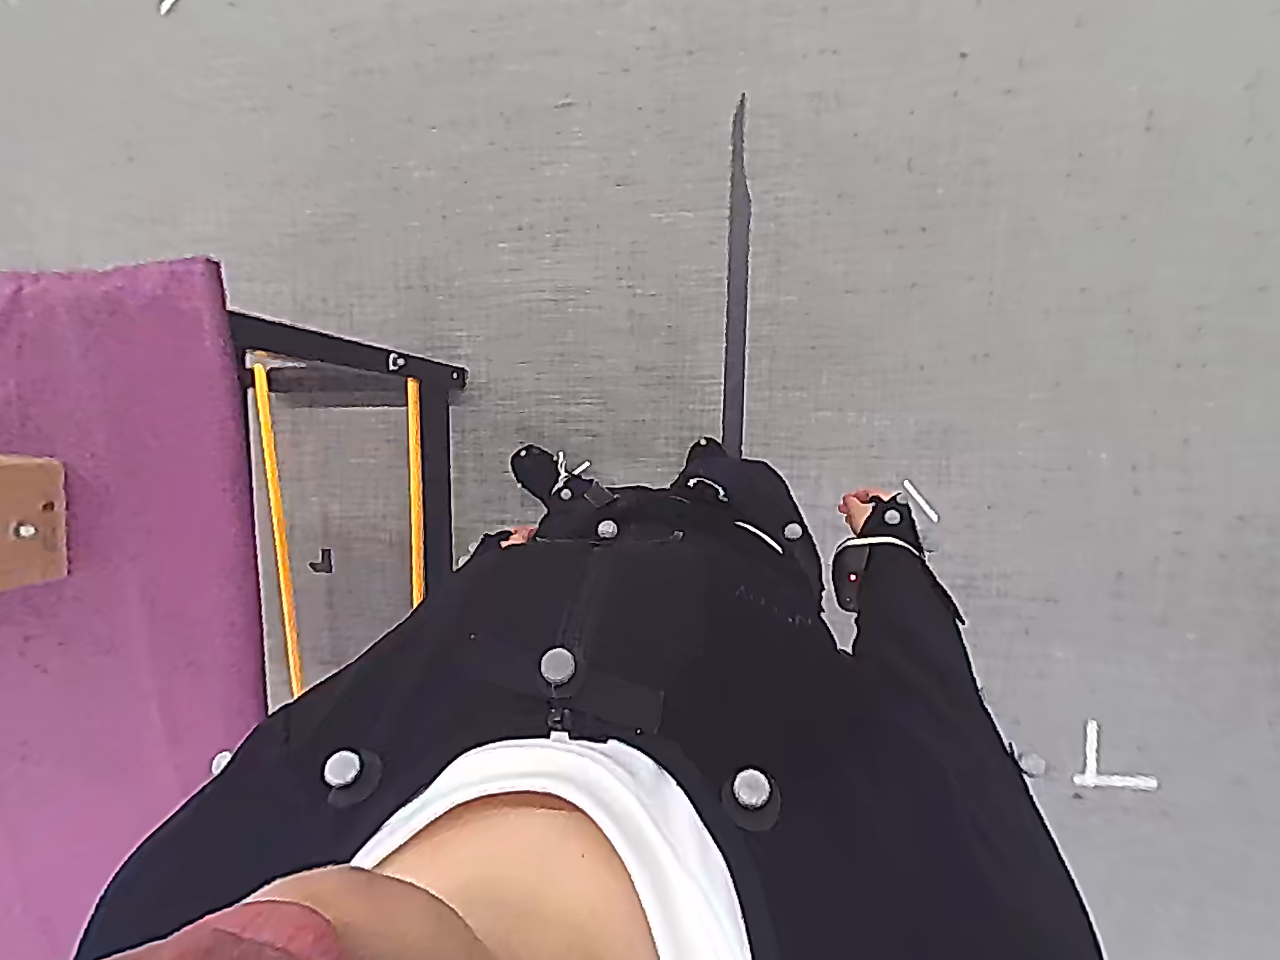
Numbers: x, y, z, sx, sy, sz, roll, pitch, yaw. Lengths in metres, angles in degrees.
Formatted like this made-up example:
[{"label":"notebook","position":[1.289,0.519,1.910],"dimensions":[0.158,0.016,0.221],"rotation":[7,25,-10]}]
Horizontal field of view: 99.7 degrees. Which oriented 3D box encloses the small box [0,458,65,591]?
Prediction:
[{"label":"small box","position":[-0.888,0.058,0.673],"dimensions":[0.179,0.176,0.168],"rotation":[4,95,7]}]
